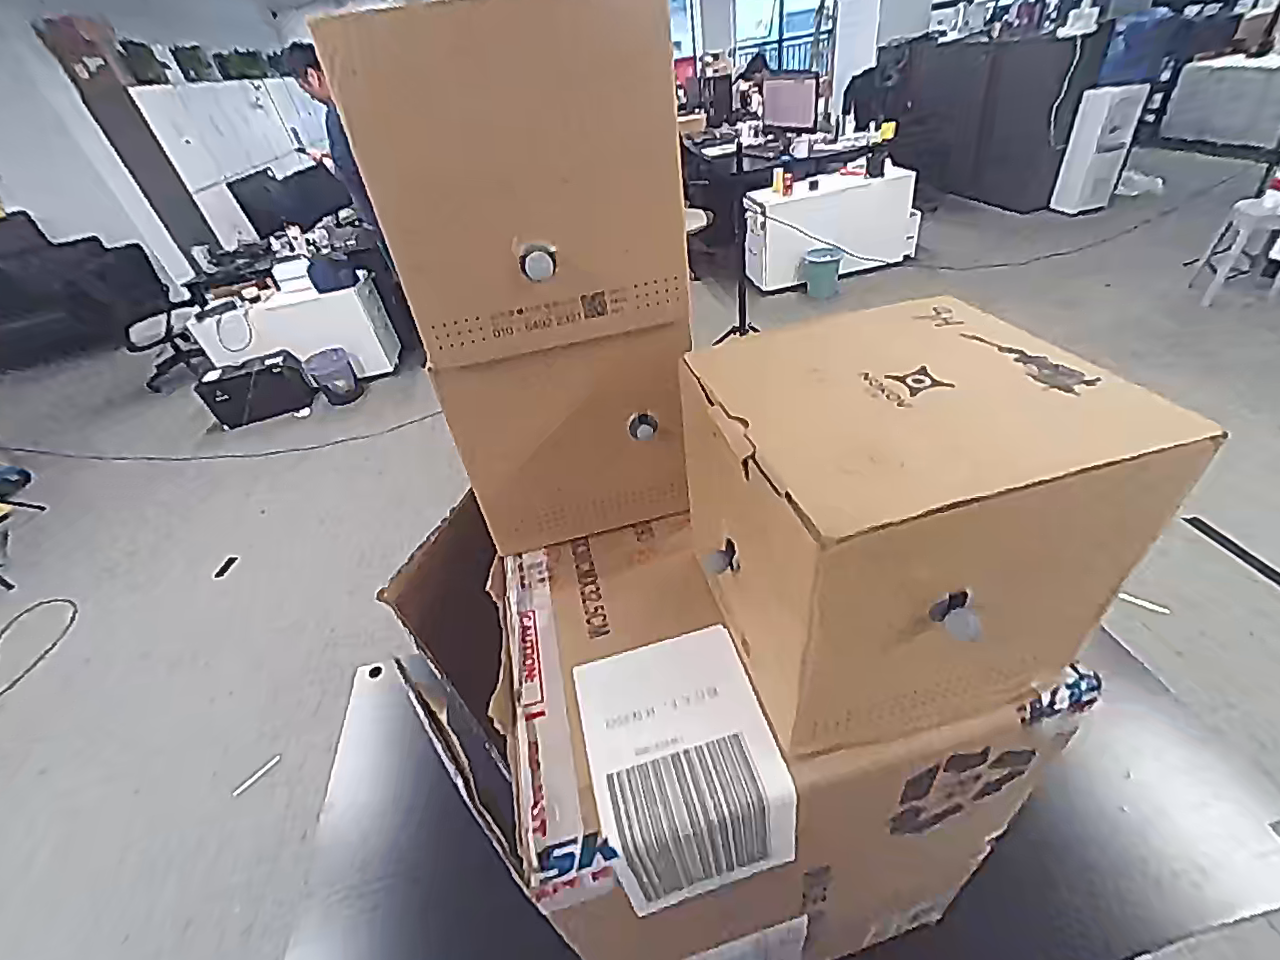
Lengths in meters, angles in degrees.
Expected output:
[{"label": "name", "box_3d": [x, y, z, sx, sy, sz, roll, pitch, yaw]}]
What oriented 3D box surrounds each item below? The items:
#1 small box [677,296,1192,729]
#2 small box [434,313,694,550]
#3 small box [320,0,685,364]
[{"label": "small box", "box_3d": [0.134, 0.017, 0.320, 0.179, 0.176, 0.168, -15, 41, -6]}, {"label": "small box", "box_3d": [-0.056, -0.067, 0.466, 0.179, 0.176, 0.168, -15, 36, -6]}, {"label": "small box", "box_3d": [-0.074, -0.196, 0.364, 0.168, 0.176, 0.179, -14, 36, -6]}]
